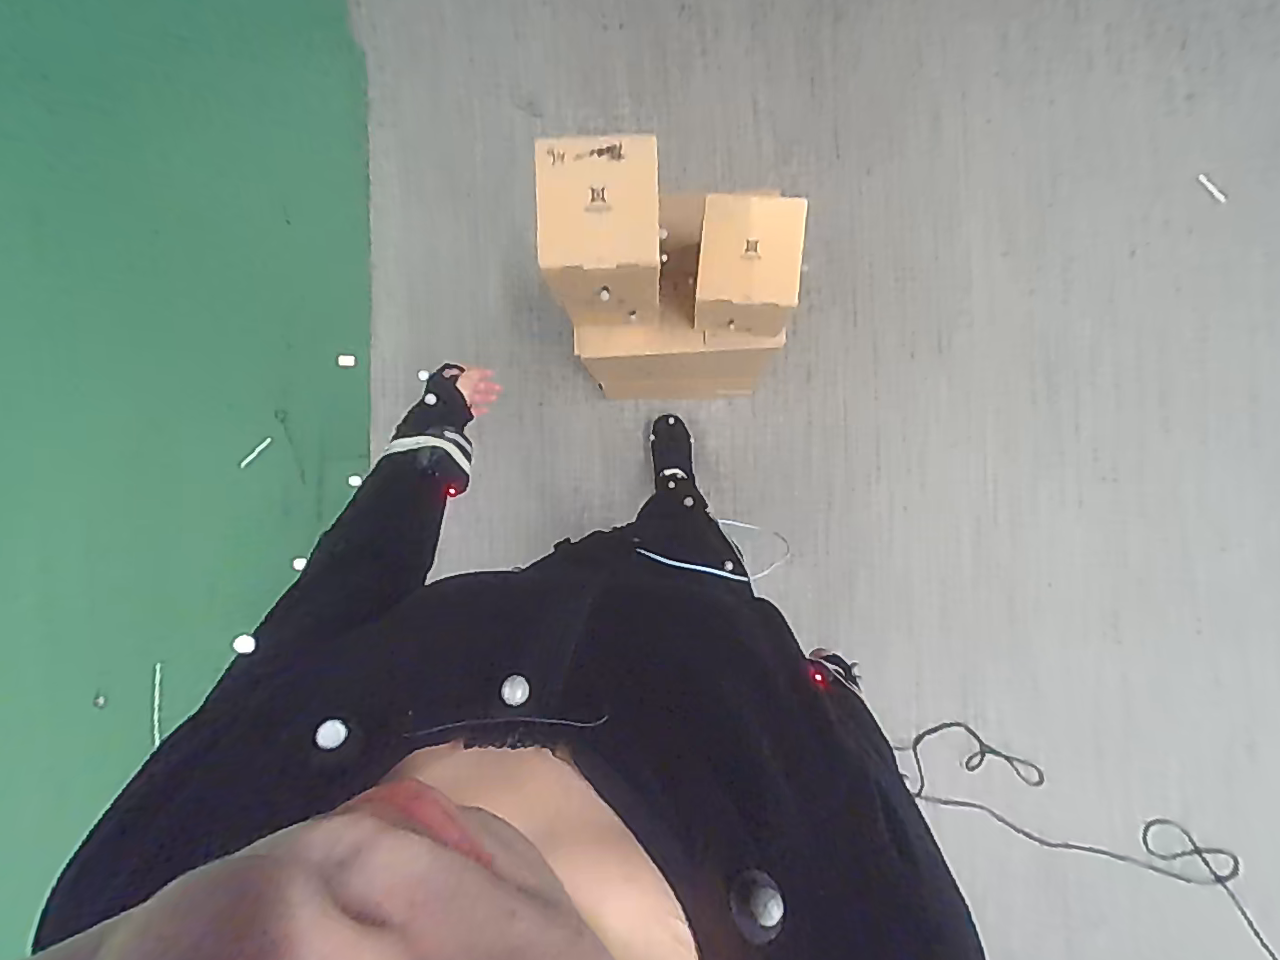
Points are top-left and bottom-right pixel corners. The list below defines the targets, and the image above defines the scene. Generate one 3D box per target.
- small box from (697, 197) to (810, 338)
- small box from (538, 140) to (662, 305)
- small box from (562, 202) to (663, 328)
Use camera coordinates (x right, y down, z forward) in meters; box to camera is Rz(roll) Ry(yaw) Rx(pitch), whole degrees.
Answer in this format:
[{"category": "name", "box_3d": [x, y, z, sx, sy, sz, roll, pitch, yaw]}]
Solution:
[{"category": "small box", "box_3d": [0.190, -0.365, 0.949, 0.168, 0.176, 0.179, 5, 90, 5]}, {"category": "small box", "box_3d": [-0.051, -0.366, 0.802, 0.168, 0.176, 0.179, -2, 91, 1]}, {"category": "small box", "box_3d": [-0.043, -0.377, 0.966, 0.168, 0.176, 0.179, 0, 90, 2]}]
